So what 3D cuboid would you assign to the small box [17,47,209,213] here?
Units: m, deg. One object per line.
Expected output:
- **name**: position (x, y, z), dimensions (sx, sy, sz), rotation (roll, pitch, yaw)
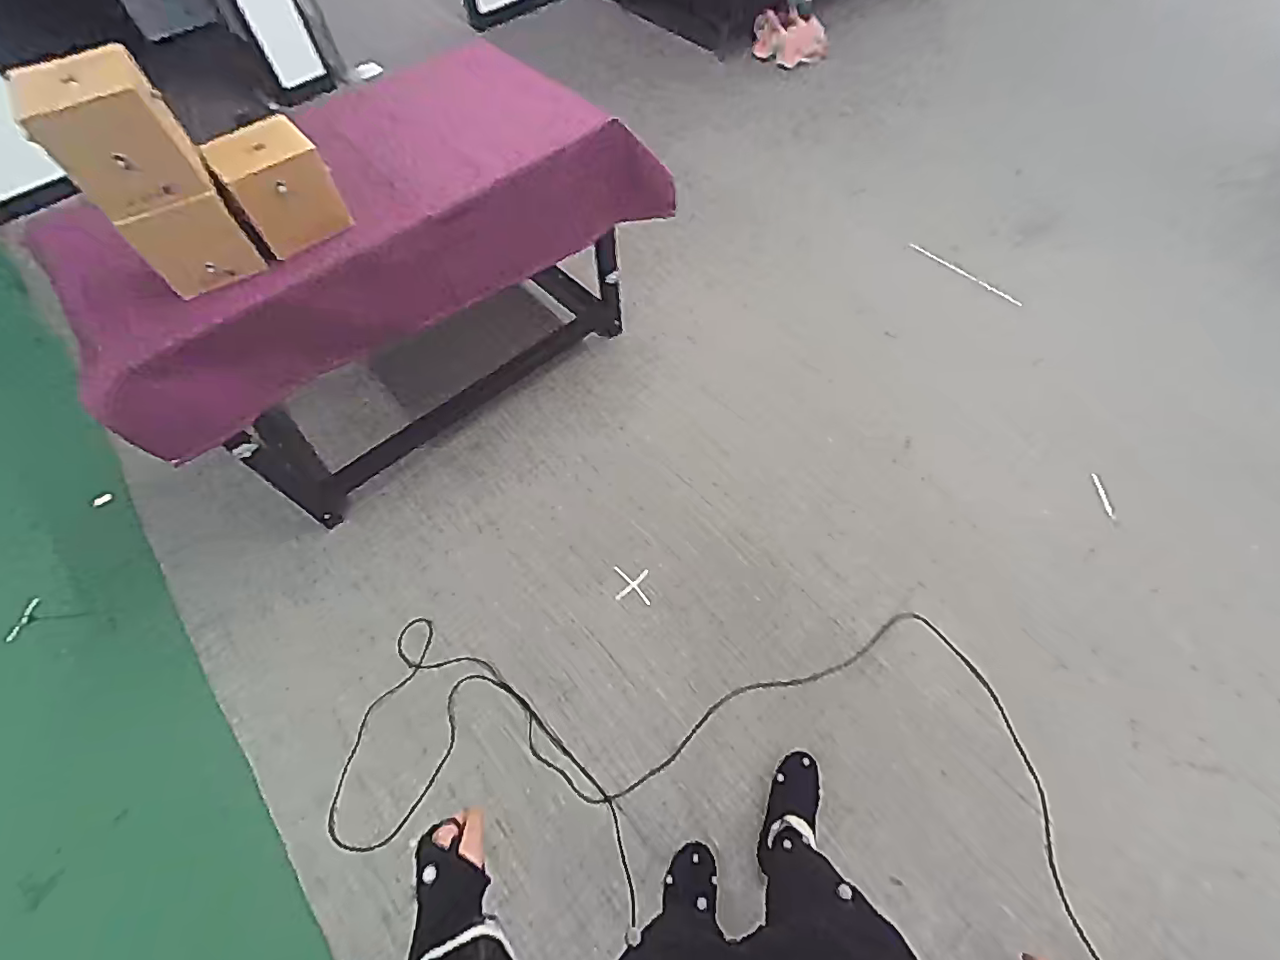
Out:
- **small box**: position (-0.878, -0.582, 0.915), dimensions (0.168, 0.176, 0.179), rotation (-28, 63, -15)
